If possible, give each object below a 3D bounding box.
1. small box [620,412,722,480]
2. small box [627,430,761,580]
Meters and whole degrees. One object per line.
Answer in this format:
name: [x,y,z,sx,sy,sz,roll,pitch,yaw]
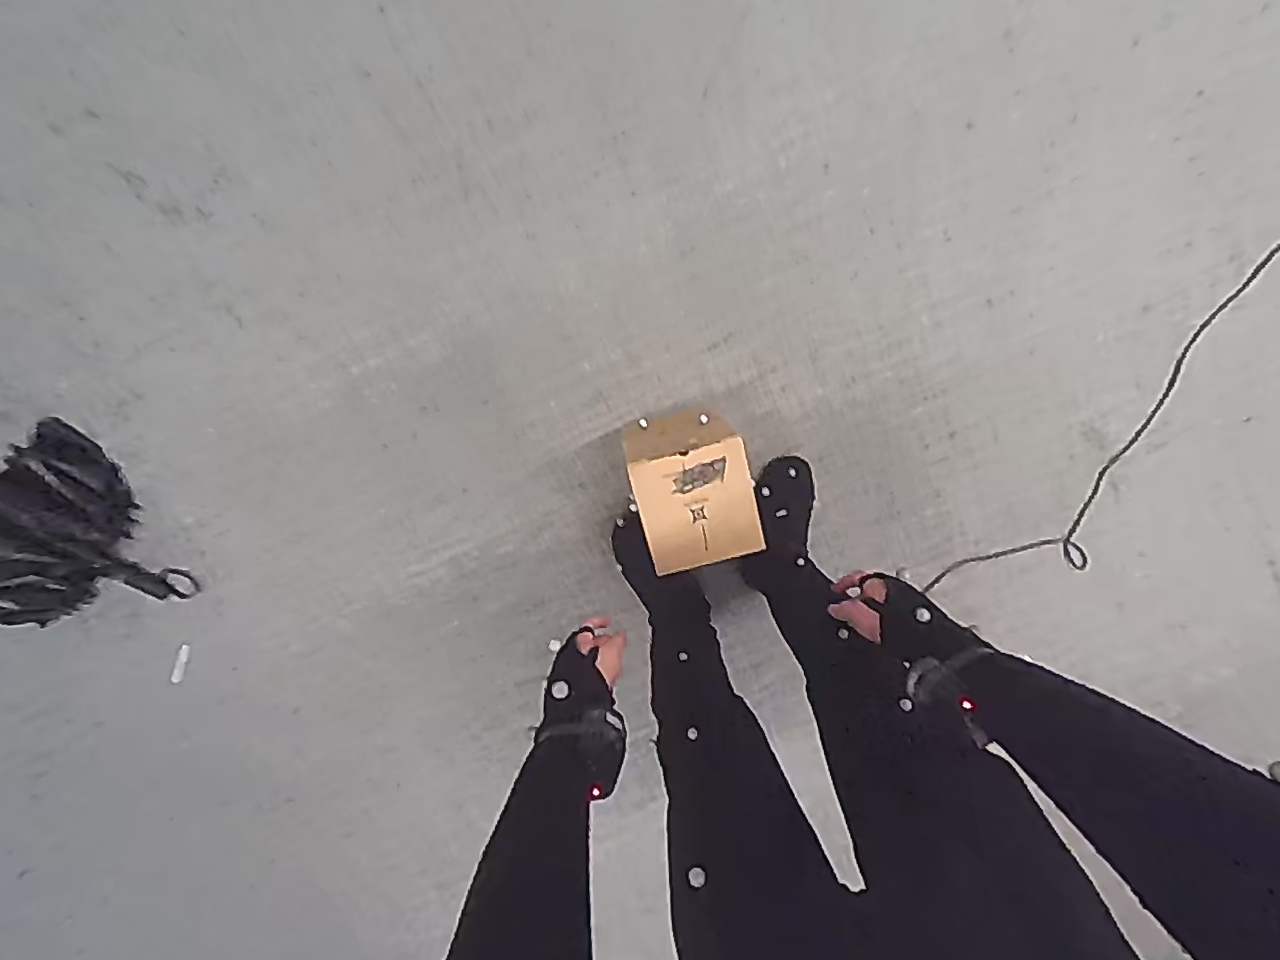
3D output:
small box: [0.067,-0.019,1.002,0.179,0.176,0.168,-15,105,1]
small box: [0.076,0.027,0.844,0.168,0.176,0.179,-14,106,3]
